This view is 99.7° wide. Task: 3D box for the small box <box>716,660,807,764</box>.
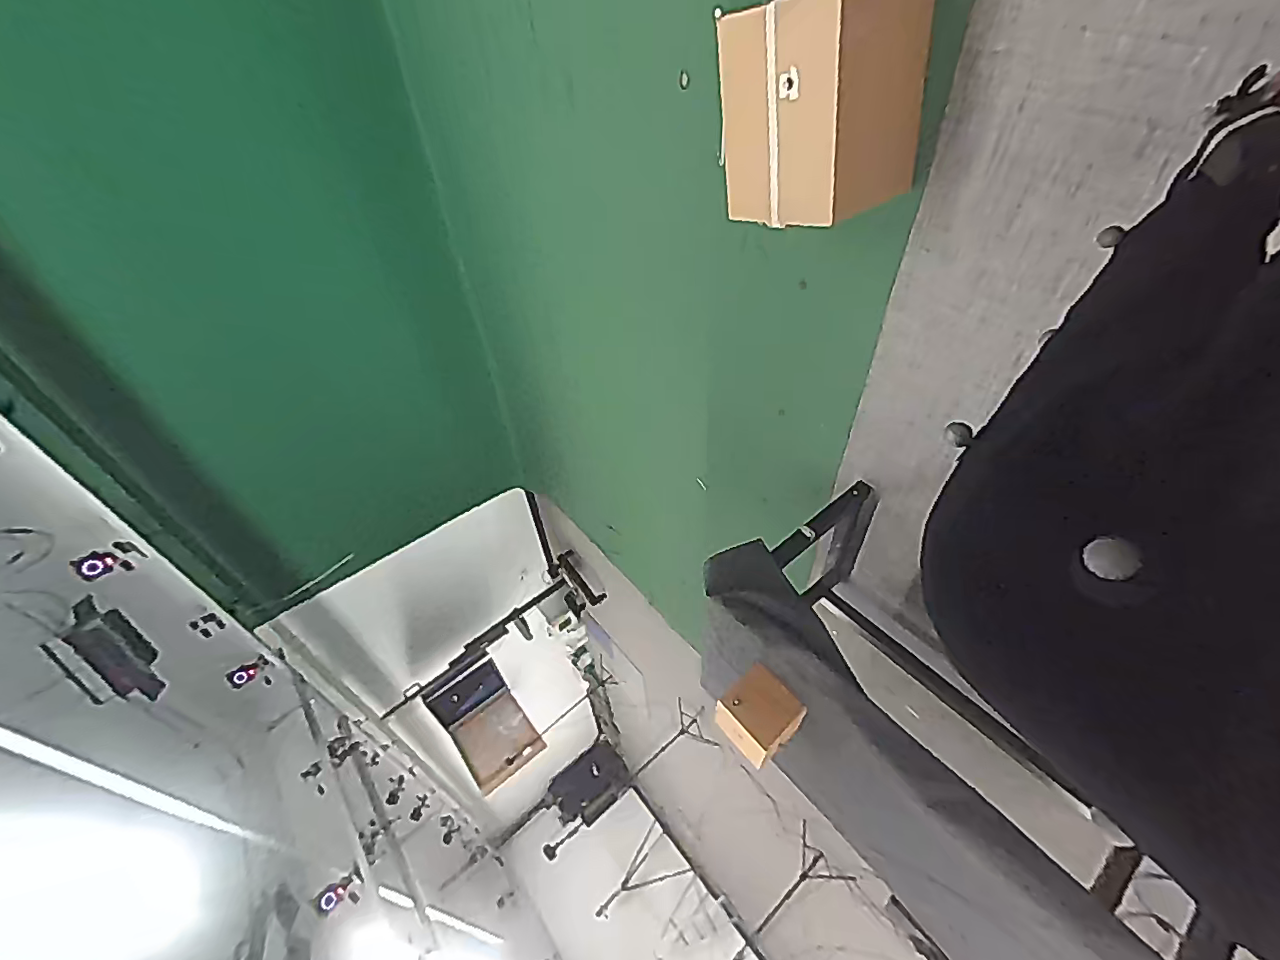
[{"bbox_3d":[0.333,0.636,1.491,0.179,0.176,0.168,42,151,33],"label":"small box"}]
